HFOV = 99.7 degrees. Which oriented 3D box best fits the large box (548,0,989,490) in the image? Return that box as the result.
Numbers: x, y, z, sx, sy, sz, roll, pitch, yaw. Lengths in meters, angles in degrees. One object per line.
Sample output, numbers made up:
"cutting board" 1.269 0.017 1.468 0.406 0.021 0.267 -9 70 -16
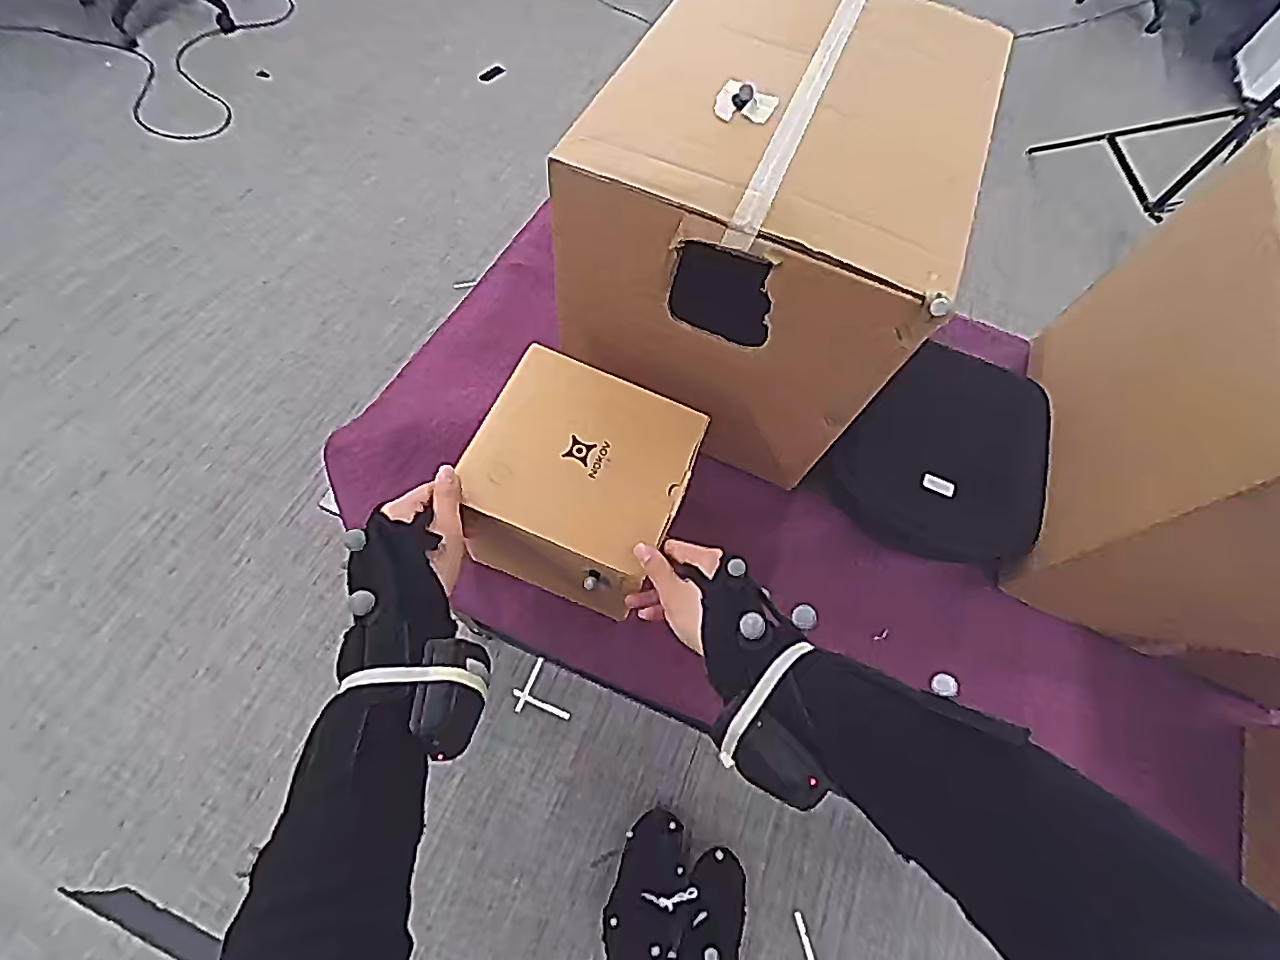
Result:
"large box" 0.127 -0.264 0.614 0.320 0.320 0.408 22 66 5
